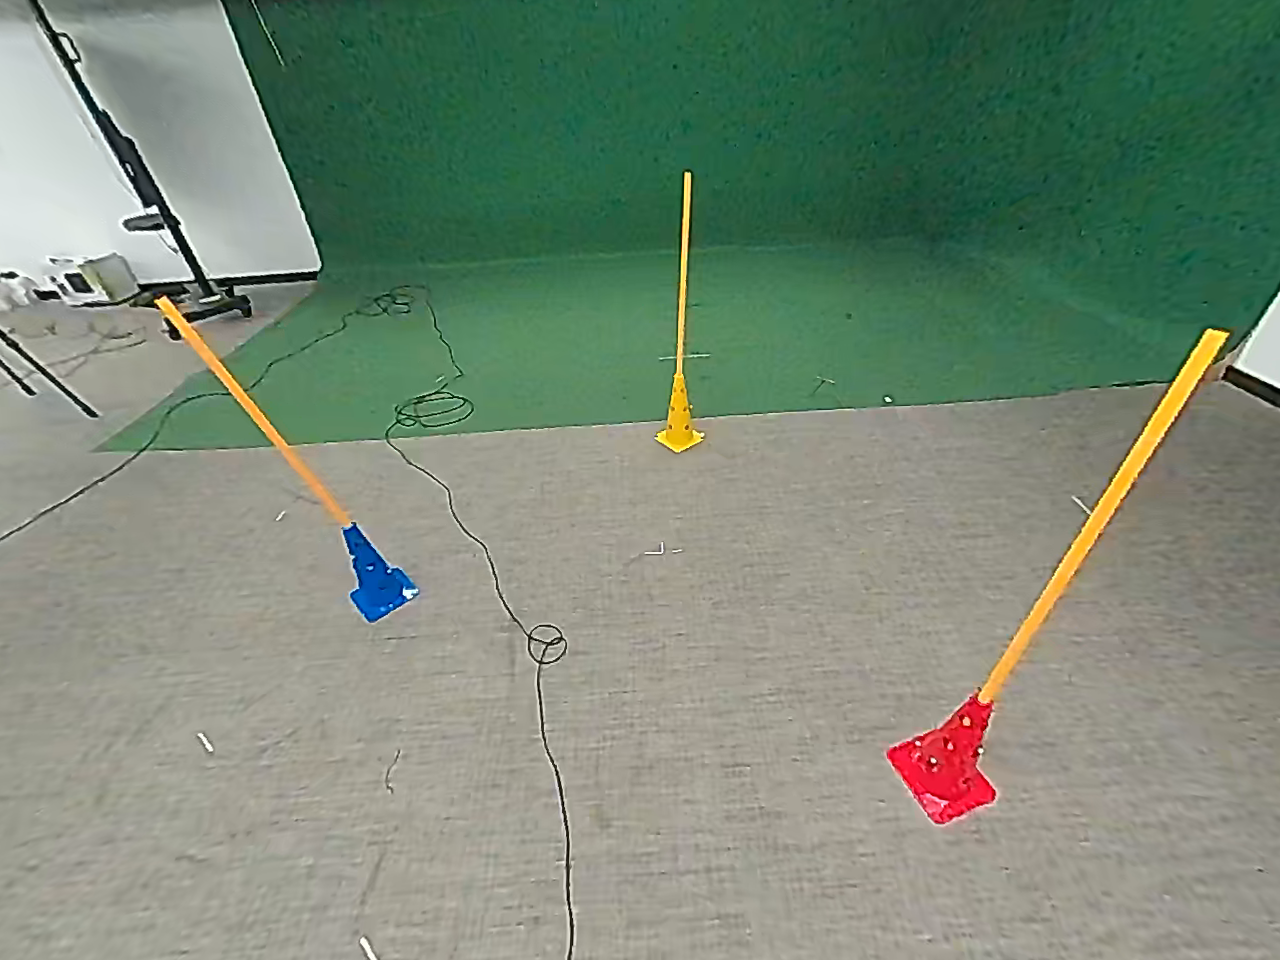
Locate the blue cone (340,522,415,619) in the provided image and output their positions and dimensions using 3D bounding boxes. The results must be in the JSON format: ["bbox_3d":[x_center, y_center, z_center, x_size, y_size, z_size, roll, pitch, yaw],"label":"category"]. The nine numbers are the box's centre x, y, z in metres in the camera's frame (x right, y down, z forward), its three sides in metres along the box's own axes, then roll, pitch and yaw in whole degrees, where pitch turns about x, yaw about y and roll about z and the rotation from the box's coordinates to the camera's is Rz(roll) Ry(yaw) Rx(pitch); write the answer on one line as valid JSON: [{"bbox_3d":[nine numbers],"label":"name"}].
[{"bbox_3d":[-0.968,0.299,1.919,0.192,0.380,0.193,29,50,34],"label":"blue cone"}]
